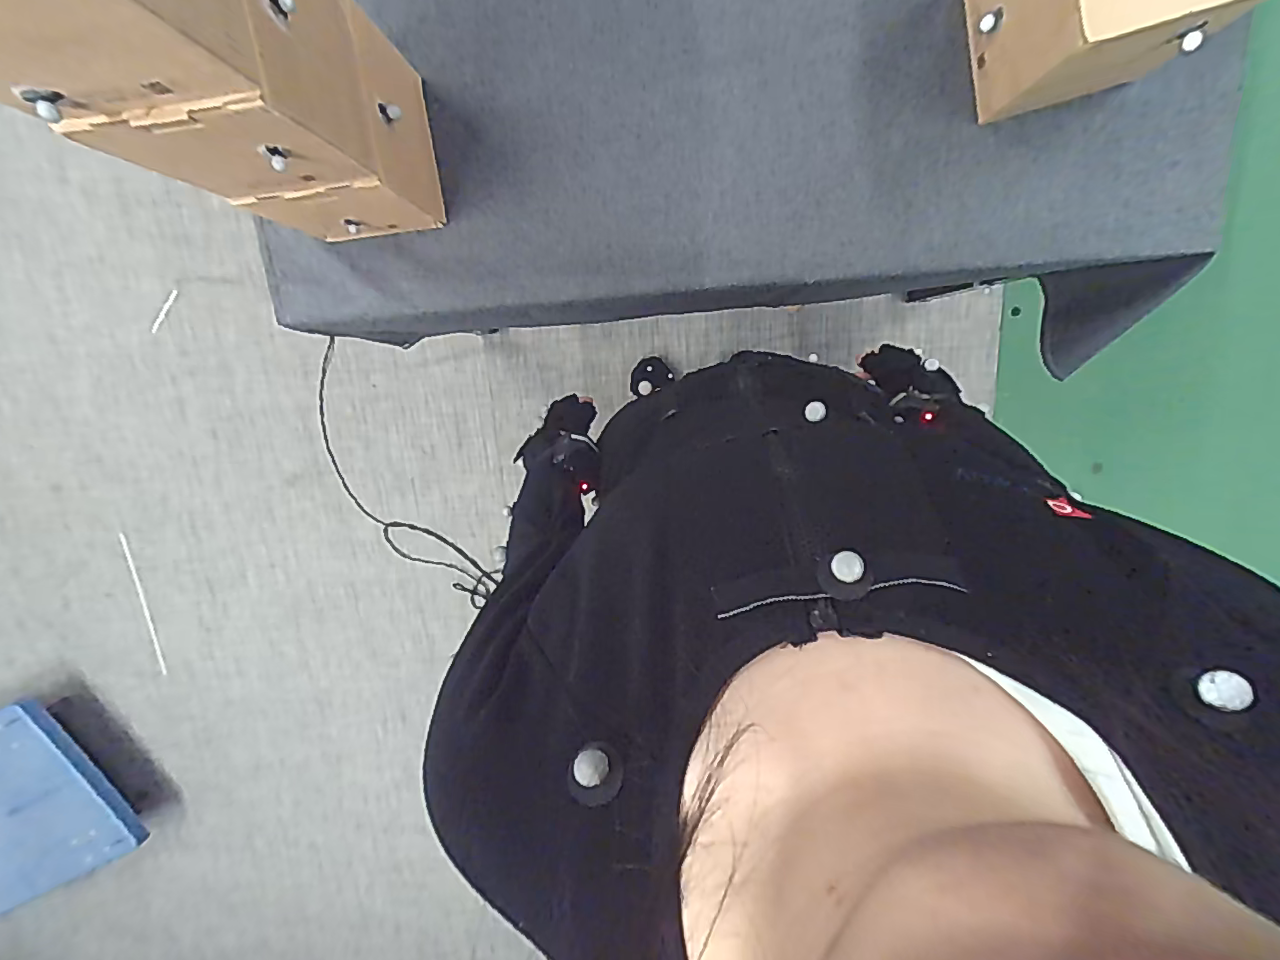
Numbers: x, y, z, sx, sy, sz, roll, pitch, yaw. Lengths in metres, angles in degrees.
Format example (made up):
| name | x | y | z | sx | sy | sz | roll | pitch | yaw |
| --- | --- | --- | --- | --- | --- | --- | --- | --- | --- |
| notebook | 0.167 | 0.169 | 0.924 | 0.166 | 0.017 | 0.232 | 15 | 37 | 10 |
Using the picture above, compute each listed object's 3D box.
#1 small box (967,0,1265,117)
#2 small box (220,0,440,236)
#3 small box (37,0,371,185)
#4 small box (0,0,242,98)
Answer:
| name | x | y | z | sx | sy | sz | roll | pitch | yaw |
| --- | --- | --- | --- | --- | --- | --- | --- | --- | --- |
| small box | 0.460 | -0.501 | 0.534 | 0.179 | 0.176 | 0.168 | -13 | 101 | 6 |
| small box | -0.346 | -0.393 | 0.605 | 0.168 | 0.176 | 0.179 | -6 | 102 | 4 |
| small box | -0.351 | -0.362 | 0.445 | 0.168 | 0.176 | 0.179 | -5 | 102 | 3 |
| small box | -0.359 | -0.334 | 0.283 | 0.168 | 0.176 | 0.179 | -7 | 102 | 3 |
